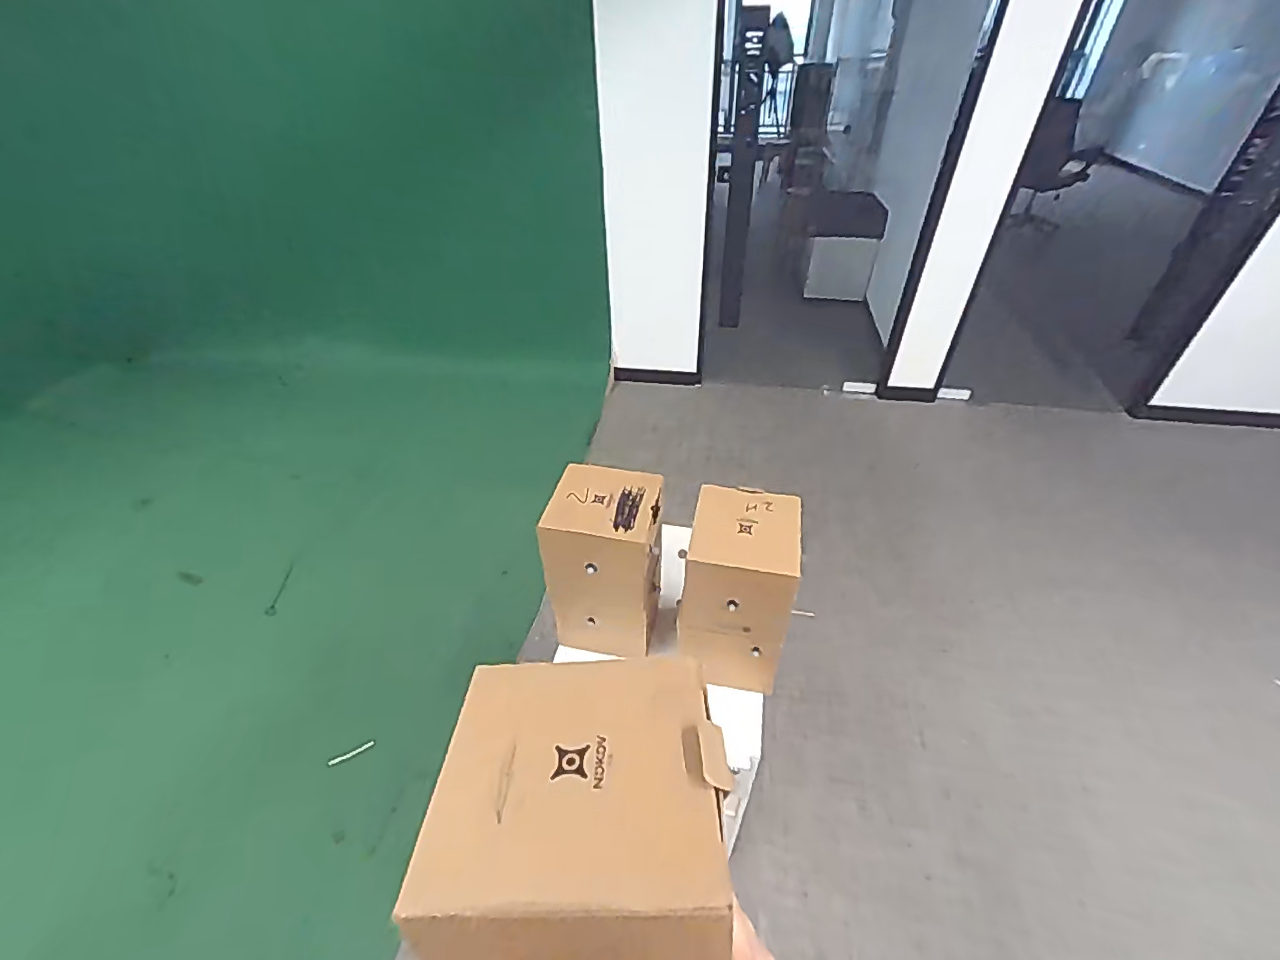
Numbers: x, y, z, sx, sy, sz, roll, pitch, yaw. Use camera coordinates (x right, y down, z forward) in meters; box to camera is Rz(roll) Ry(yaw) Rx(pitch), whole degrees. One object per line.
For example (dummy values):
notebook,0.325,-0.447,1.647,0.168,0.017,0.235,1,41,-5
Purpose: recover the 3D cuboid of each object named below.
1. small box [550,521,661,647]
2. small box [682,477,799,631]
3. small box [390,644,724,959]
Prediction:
small box,-0.059,0.205,1.048,0.179,0.176,0.168,8,42,8
small box,0.162,0.122,0.888,0.168,0.176,0.179,8,42,10
small box,-0.037,0.241,0.385,0.179,0.176,0.168,-4,28,3
